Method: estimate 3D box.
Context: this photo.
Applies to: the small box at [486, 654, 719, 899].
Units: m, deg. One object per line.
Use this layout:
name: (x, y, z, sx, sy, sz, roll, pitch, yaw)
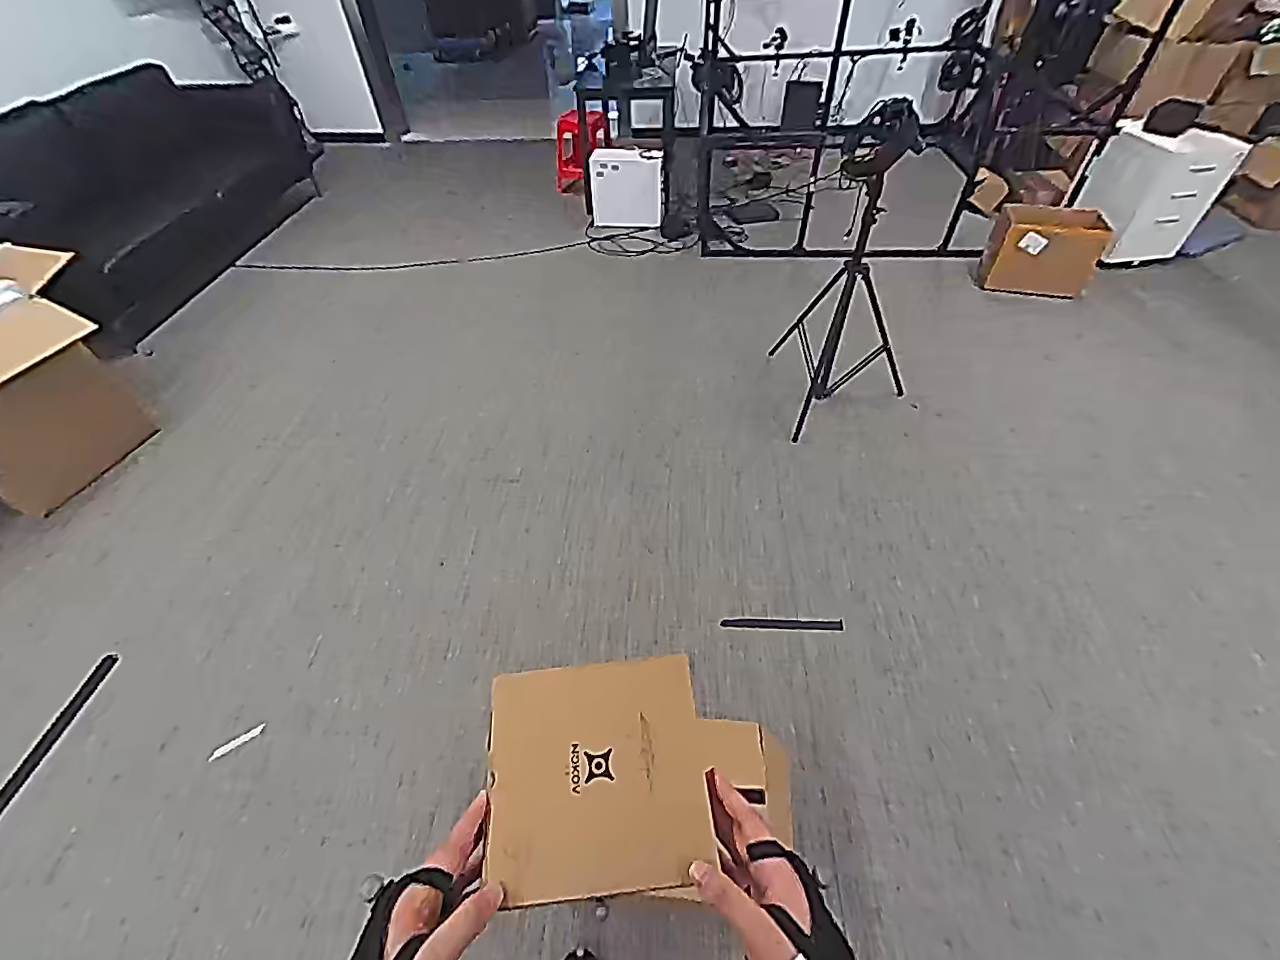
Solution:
small box: (-0.031, 0.280, 0.505, 0.179, 0.176, 0.168, -7, 54, -2)
